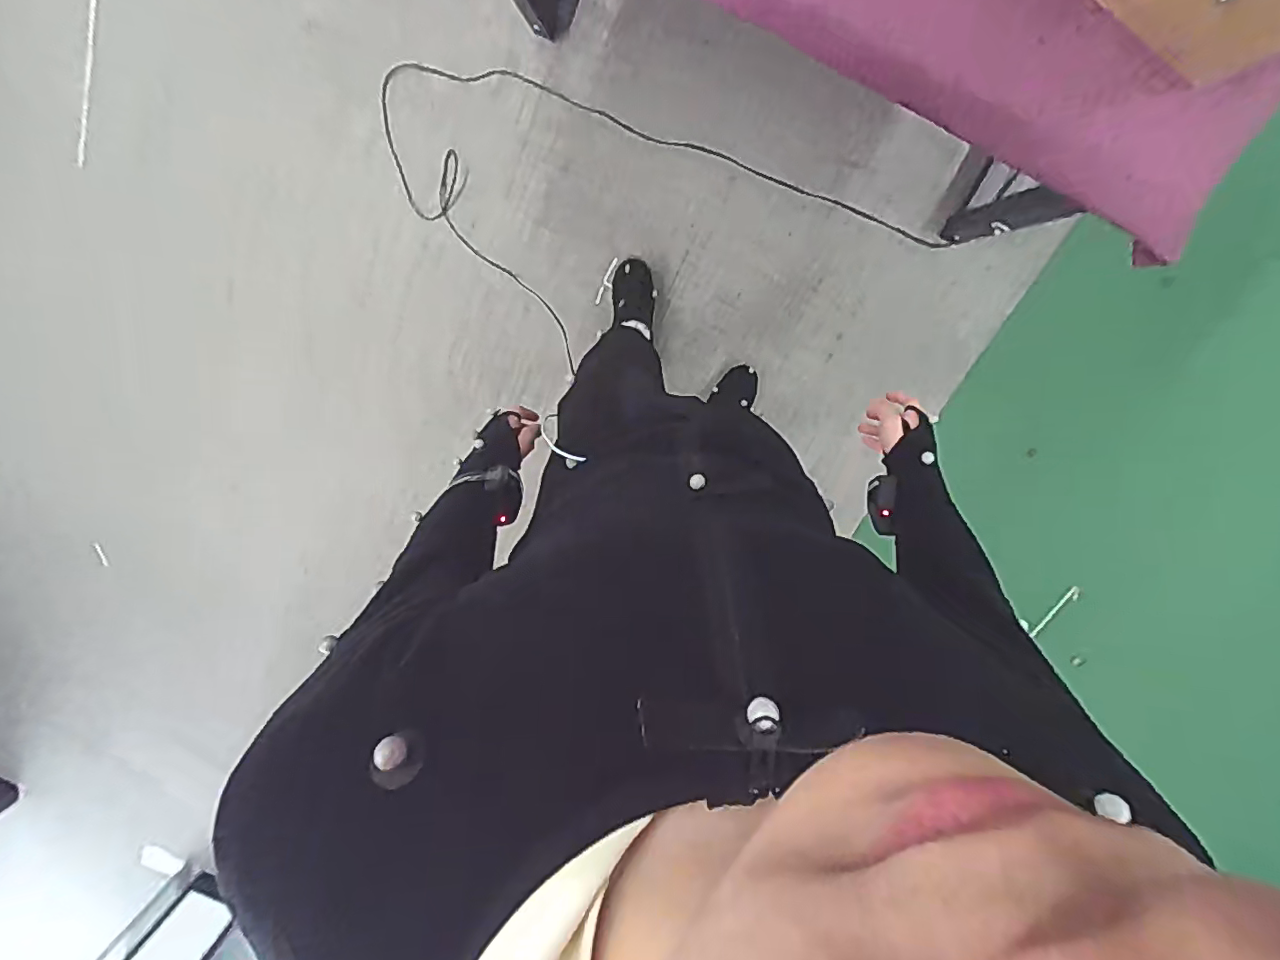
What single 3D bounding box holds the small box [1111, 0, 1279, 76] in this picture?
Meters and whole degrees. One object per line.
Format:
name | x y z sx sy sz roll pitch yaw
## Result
small box | 0.646 -0.551 0.538 0.179 0.176 0.168 37 109 -4
